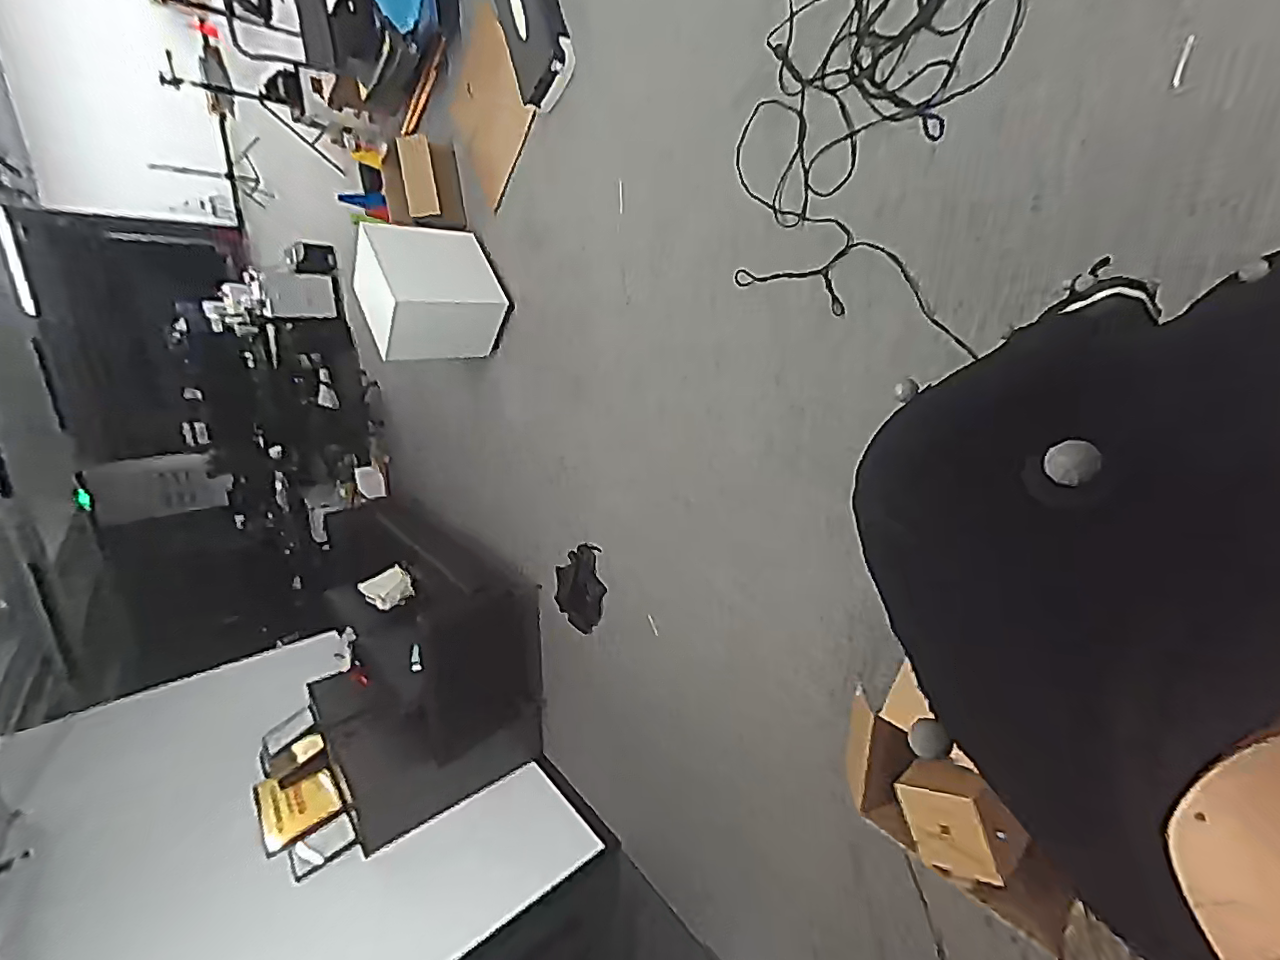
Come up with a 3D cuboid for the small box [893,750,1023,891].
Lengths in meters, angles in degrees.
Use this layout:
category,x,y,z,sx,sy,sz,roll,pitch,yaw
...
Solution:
category,x,y,z,sx,sy,sz,roll,pitch,yaw
small box,0.685,0.716,1.160,0.168,0.176,0.179,-22,83,51
